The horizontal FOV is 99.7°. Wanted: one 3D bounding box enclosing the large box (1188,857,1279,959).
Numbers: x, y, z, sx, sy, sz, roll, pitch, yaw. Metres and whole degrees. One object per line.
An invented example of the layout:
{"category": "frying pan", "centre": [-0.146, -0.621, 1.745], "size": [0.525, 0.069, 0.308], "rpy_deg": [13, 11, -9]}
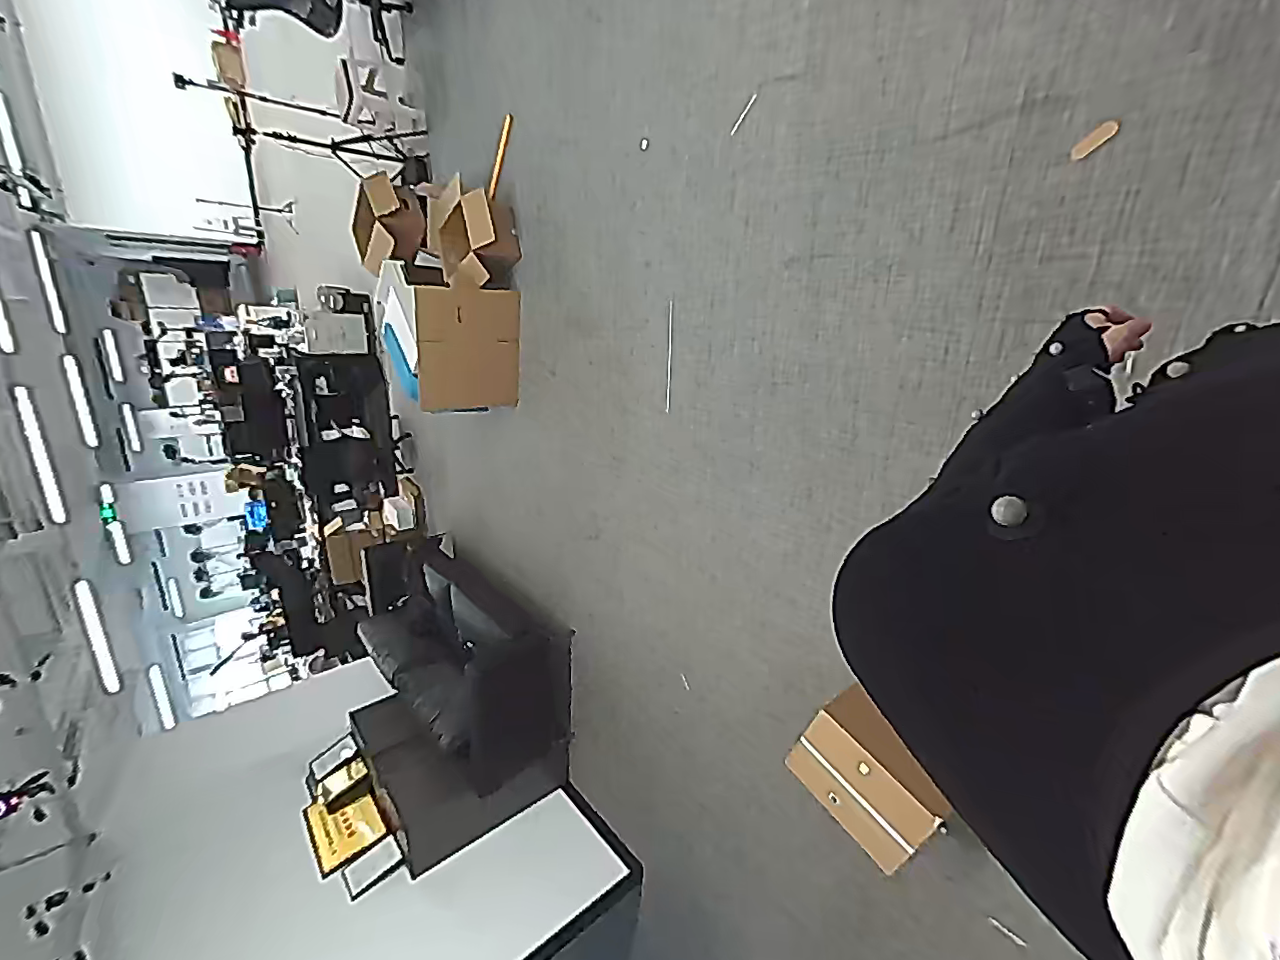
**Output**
{"category": "large box", "centre": [1.377, 0.985, 1.016], "size": [0.408, 0.320, 0.320], "rpy_deg": [-29, 78, 49]}
